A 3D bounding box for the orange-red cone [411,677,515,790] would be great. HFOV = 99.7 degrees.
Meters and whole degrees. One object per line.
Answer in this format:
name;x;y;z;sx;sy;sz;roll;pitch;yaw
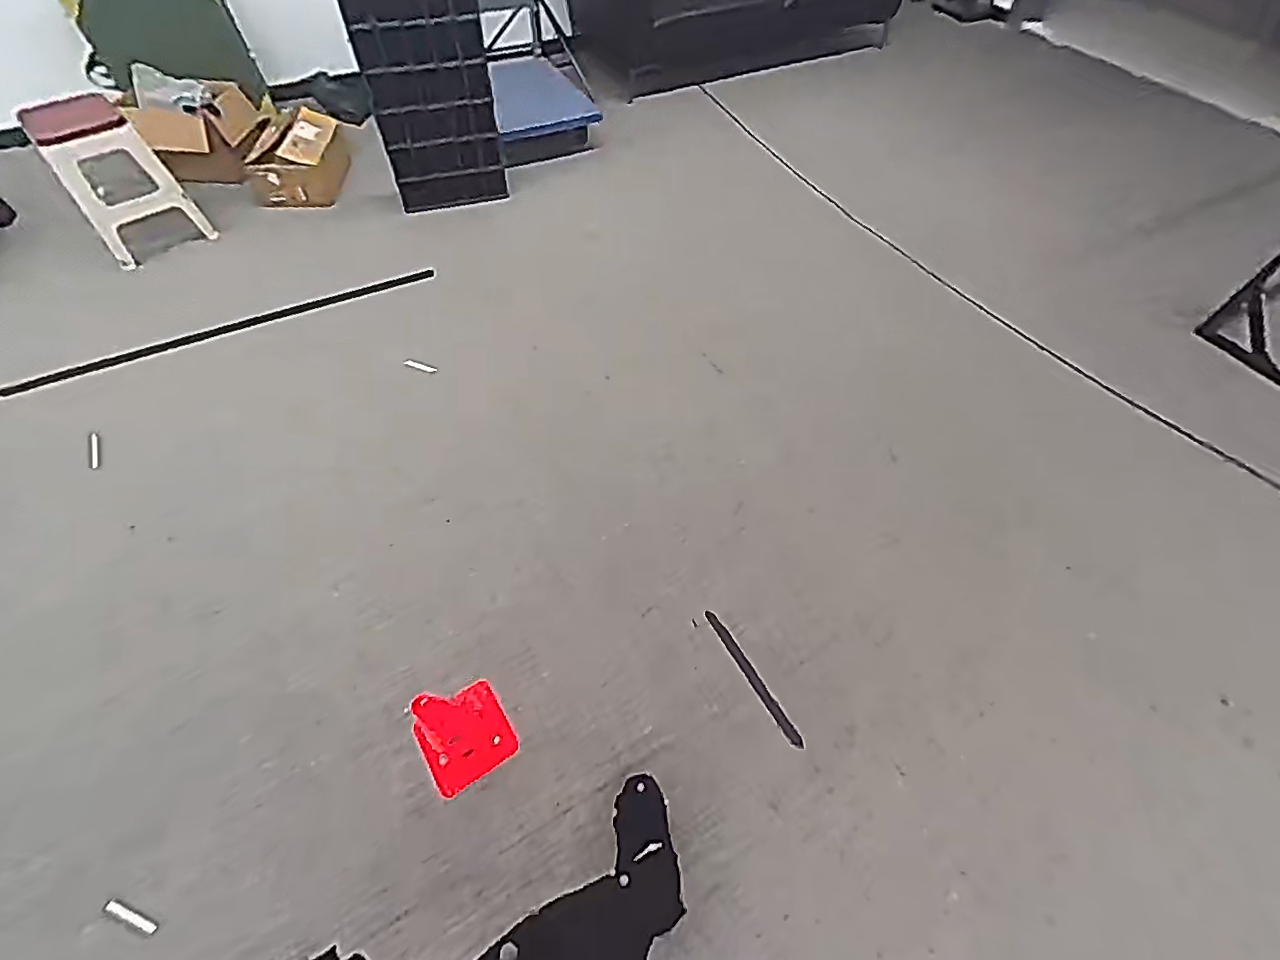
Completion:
orange-red cone;-0.414;0.498;1.146;0.198;0.360;0.199;-27;60;-20
